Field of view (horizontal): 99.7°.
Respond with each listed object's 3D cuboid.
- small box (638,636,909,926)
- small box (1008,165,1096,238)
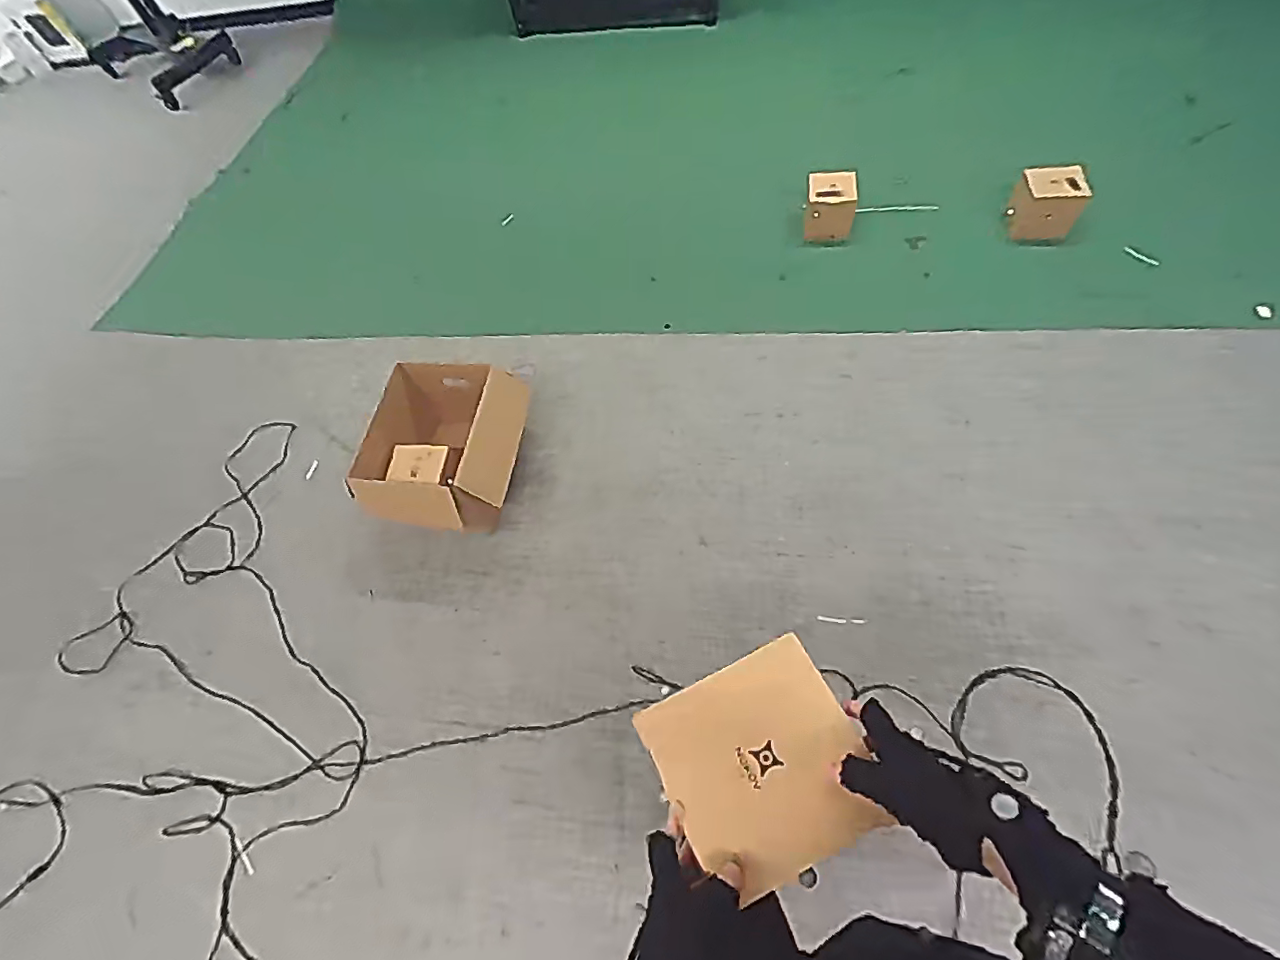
[{"bbox_3d":[0.115,0.280,0.530,0.179,0.176,0.168,-26,62,-8],"label":"small box"},{"bbox_3d":[1.438,-0.973,1.899,0.179,0.176,0.168,3,61,10],"label":"small box"}]
